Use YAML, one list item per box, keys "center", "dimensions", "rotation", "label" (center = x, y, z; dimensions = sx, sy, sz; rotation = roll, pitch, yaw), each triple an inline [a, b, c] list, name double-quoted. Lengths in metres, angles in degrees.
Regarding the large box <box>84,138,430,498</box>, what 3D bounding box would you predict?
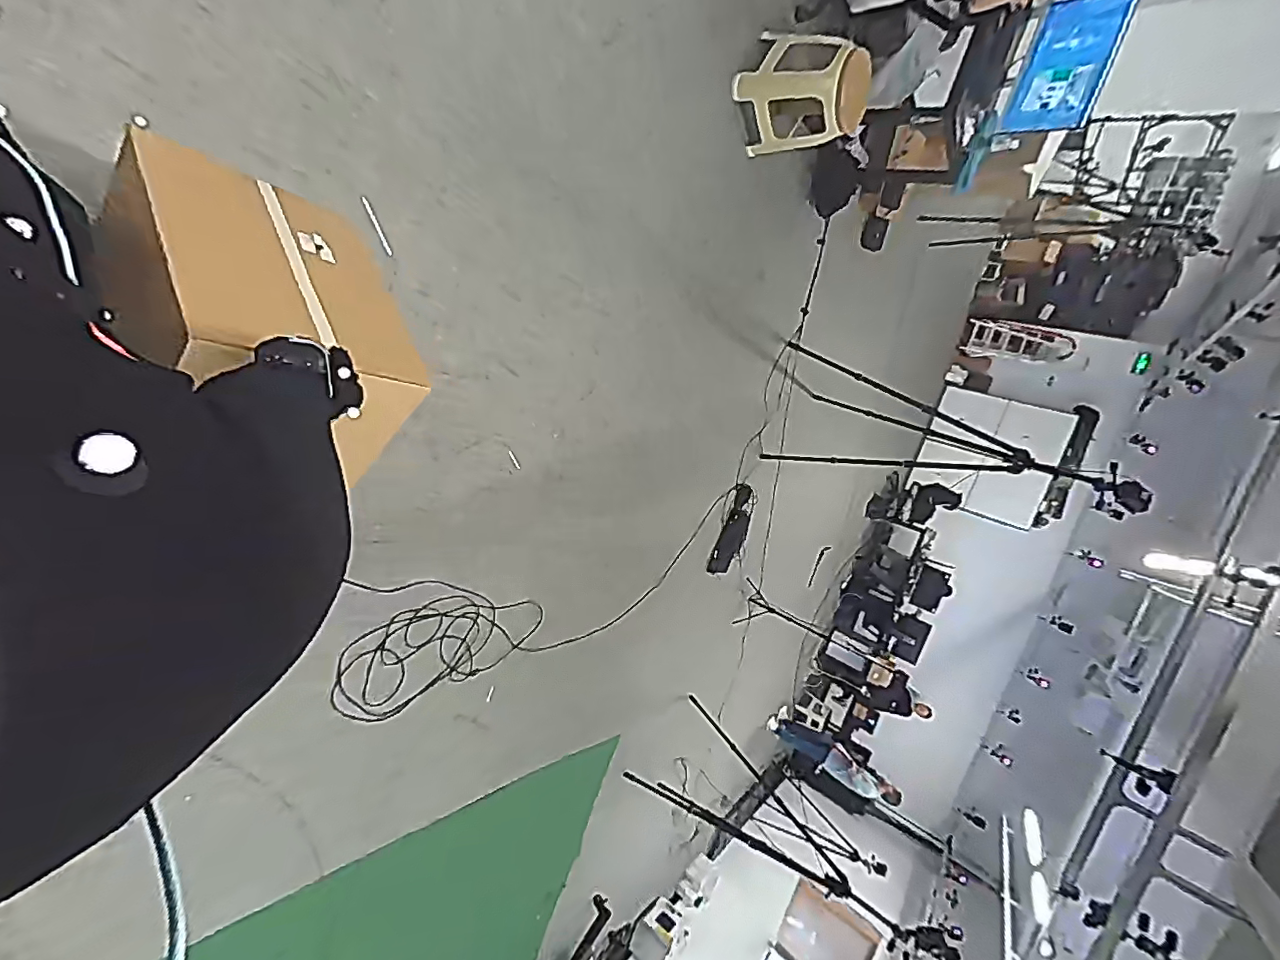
- center: [-0.613, -0.218, 0.862]
  dimensions: [0.320, 0.408, 0.320]
  rotation: [-41, 158, 24]
  label: "large box"
